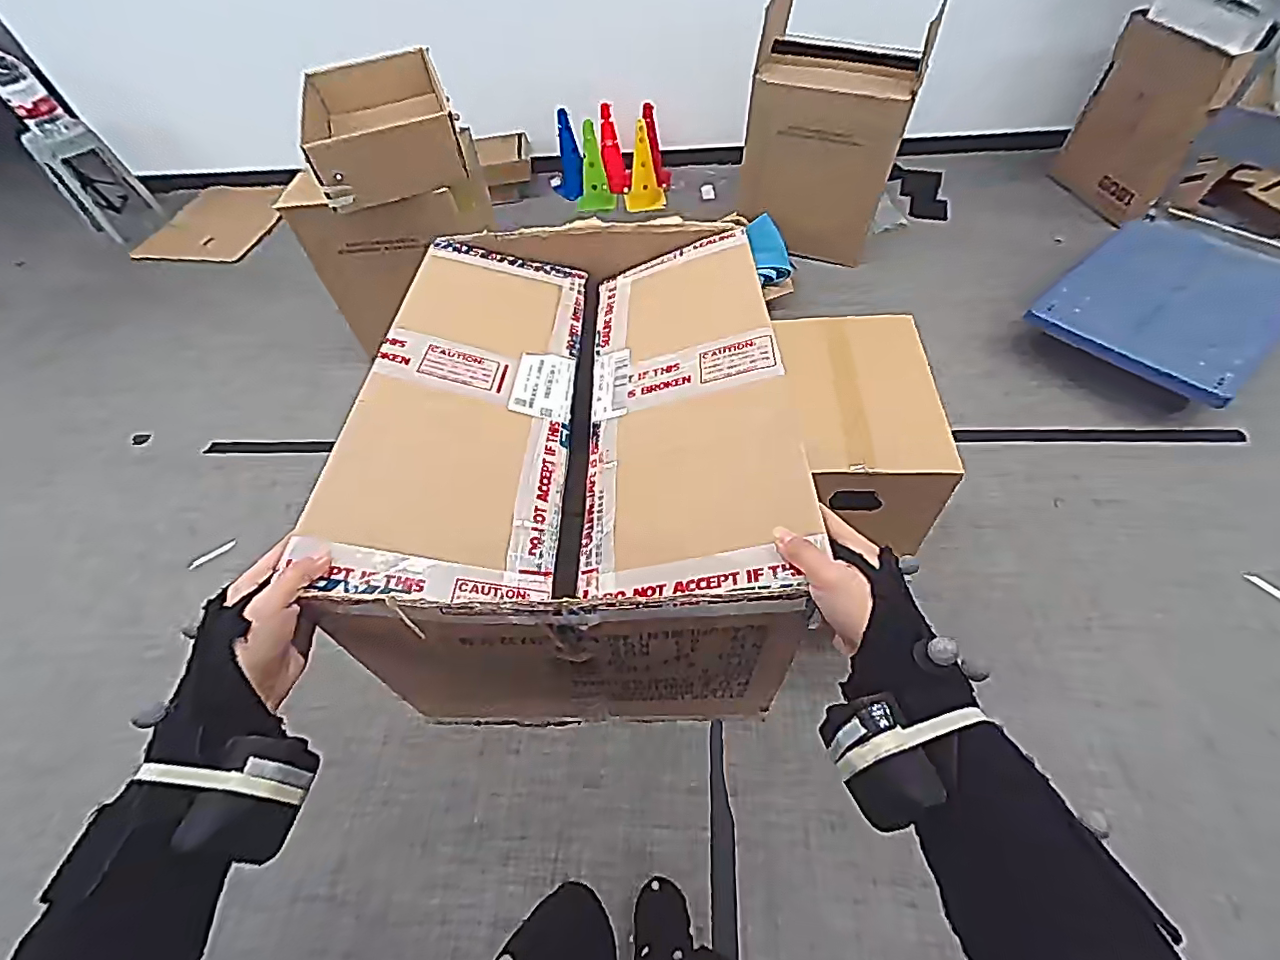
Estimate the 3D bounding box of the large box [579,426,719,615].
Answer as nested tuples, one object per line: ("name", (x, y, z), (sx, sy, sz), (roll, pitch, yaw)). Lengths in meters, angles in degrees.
("large box", (0.029, 0.108, 1.412), (0.320, 0.320, 0.408), (-1, 55, 5))
